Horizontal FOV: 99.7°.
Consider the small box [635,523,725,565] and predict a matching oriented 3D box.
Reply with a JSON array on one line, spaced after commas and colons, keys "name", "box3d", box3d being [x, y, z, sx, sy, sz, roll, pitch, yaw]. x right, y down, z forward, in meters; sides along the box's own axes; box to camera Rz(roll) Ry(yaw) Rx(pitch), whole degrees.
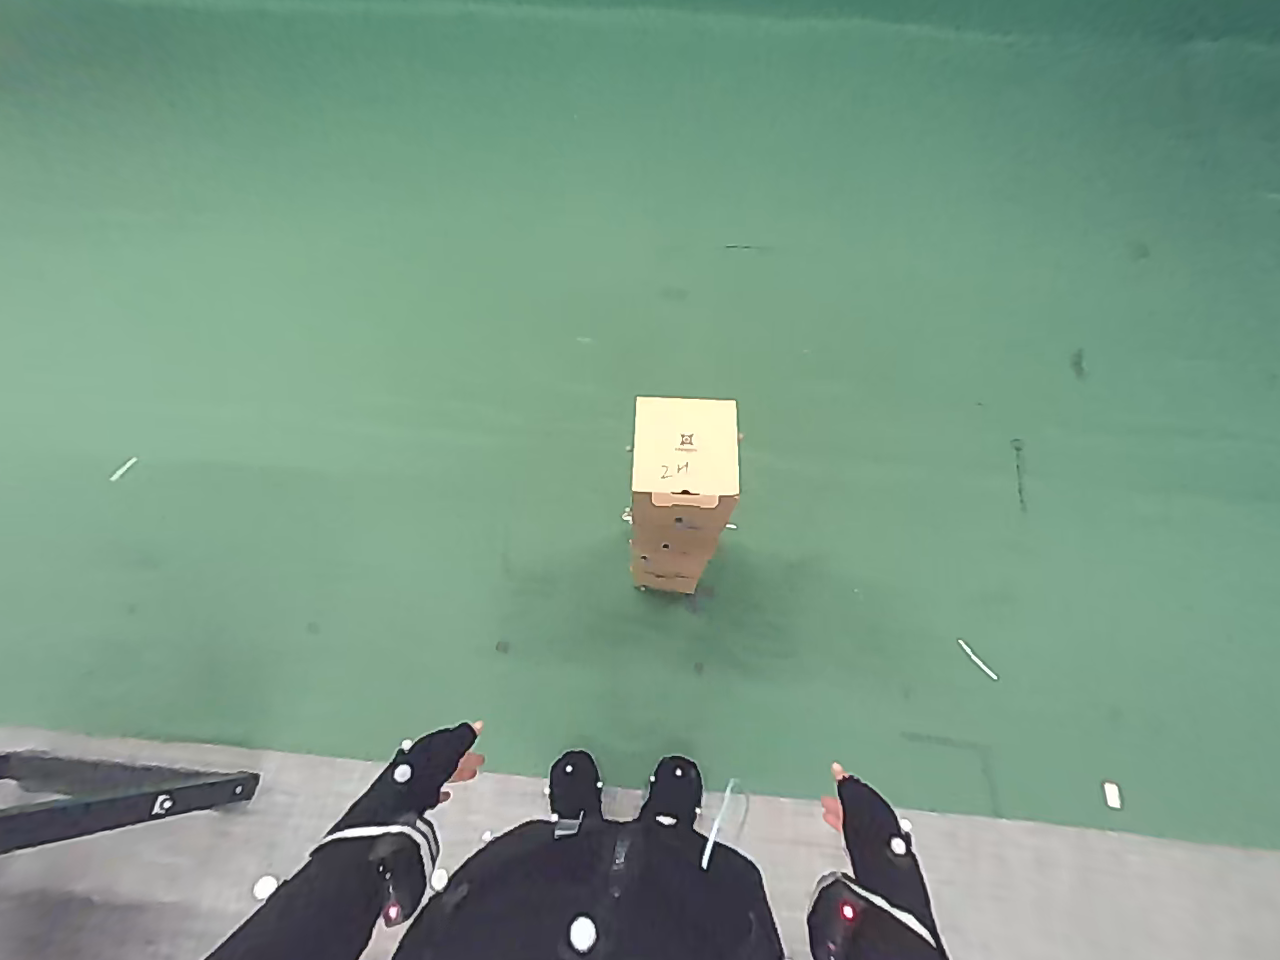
[{"name": "small box", "box3d": [0.077, 0.057, 1.081, 0.168, 0.176, 0.179, 4, 66, 2]}]

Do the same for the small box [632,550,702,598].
[{"name": "small box", "box3d": [0.075, 0.194, 1.378, 0.168, 0.176, 0.179, 6, 65, 3]}]

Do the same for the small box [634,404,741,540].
[{"name": "small box", "box3d": [0.076, -0.010, 0.931, 0.168, 0.176, 0.179, 3, 66, 1]}]
